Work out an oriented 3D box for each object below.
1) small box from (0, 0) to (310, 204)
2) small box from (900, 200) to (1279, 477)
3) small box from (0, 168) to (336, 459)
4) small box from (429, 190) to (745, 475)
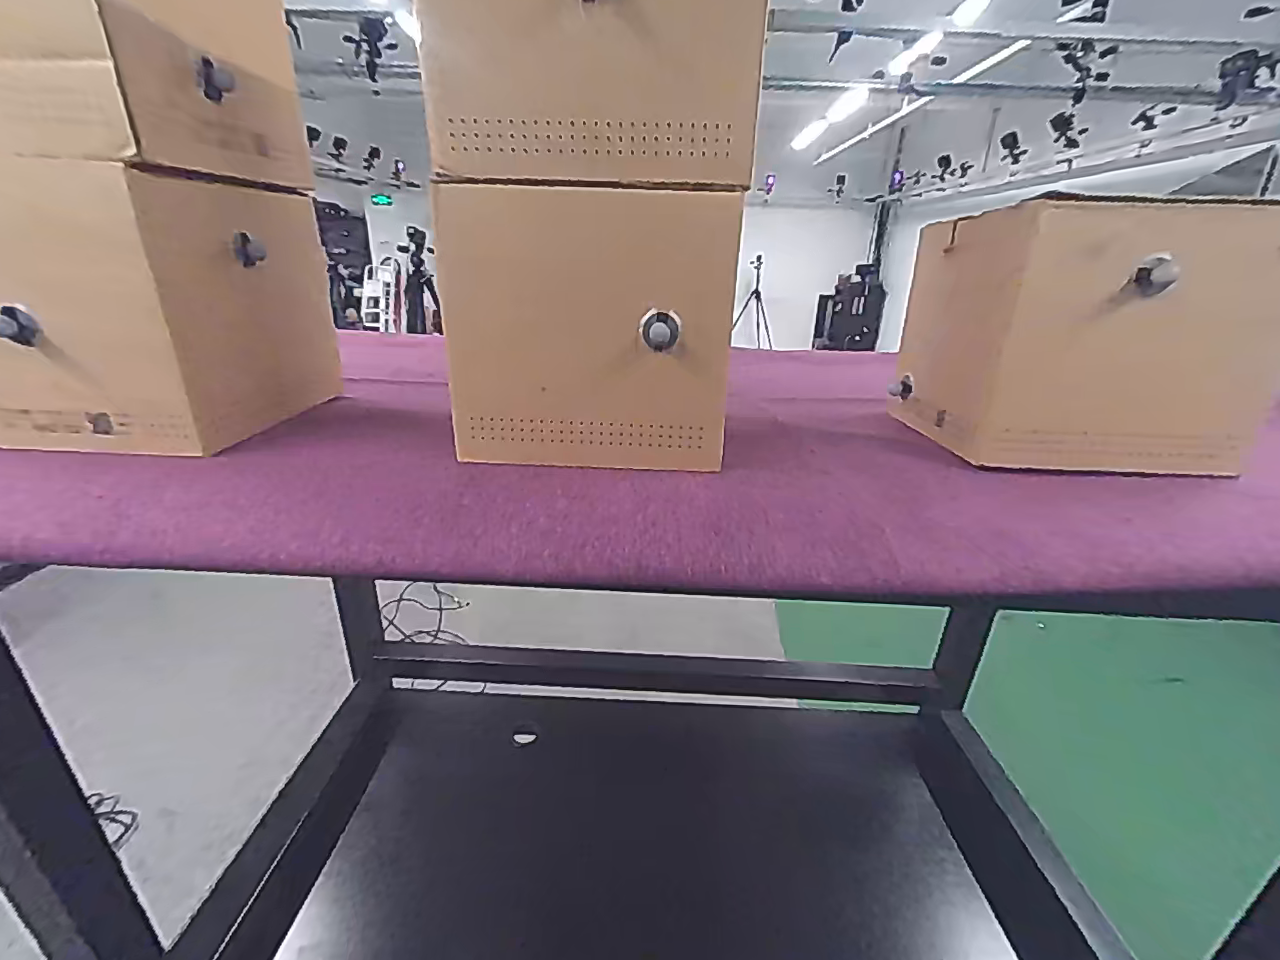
[{"bbox_3d":[-0.343,-0.271,0.330,0.179,0.176,0.168,3,24,-1],"label":"small box"},{"bbox_3d":[0.319,-0.106,0.413,0.179,0.176,0.168,3,20,2],"label":"small box"},{"bbox_3d":[-0.351,-0.121,0.393,0.168,0.176,0.179,3,23,0],"label":"small box"},{"bbox_3d":[-0.030,-0.108,0.397,0.179,0.176,0.168,1,22,0],"label":"small box"}]
